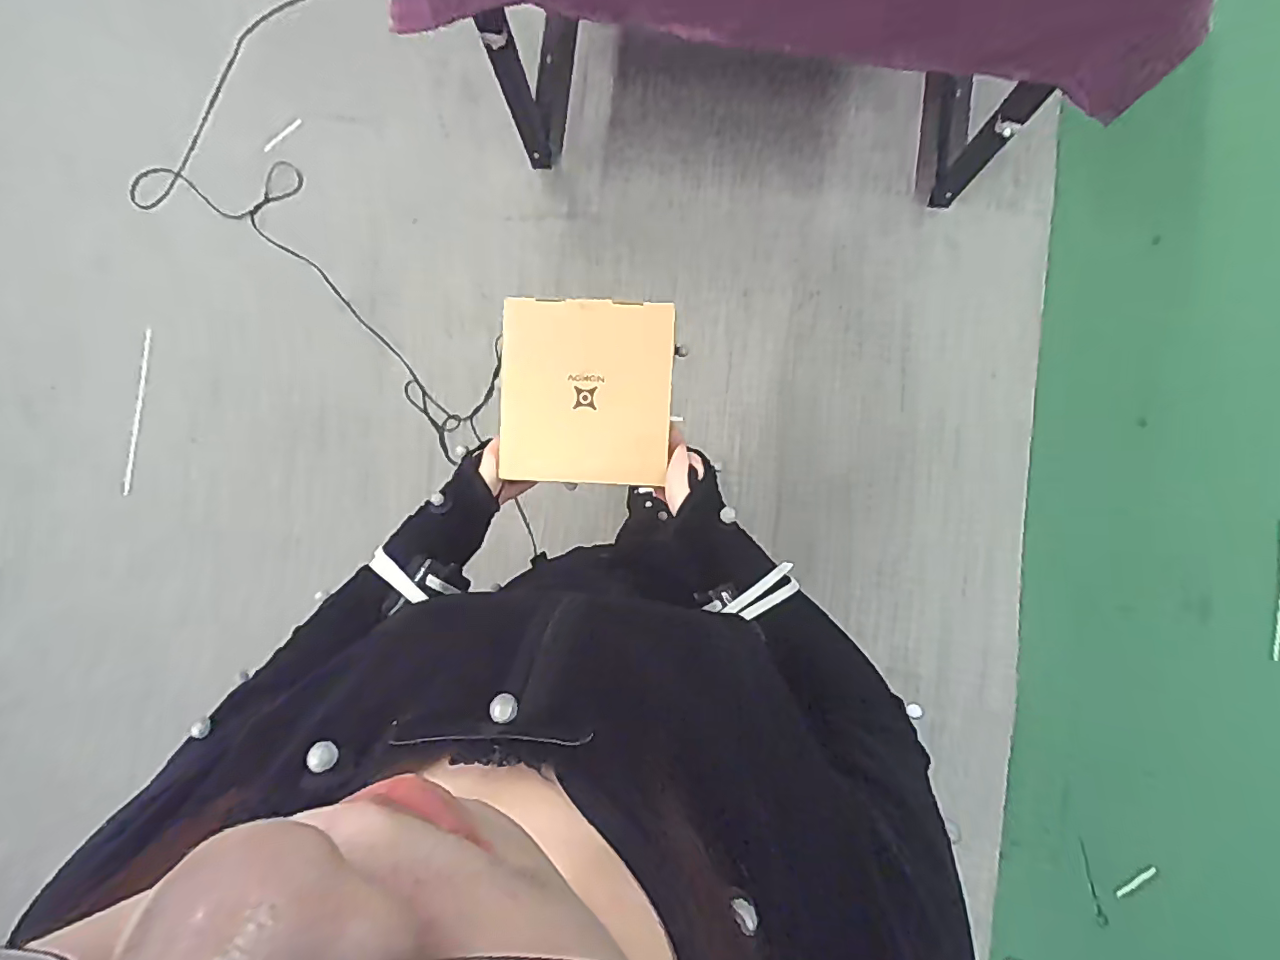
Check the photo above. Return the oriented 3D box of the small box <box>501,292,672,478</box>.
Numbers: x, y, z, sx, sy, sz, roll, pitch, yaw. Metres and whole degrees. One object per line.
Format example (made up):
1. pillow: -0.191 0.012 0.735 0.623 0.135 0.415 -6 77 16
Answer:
1. small box: -0.051 -0.099 0.610 0.168 0.176 0.179 3 94 2
